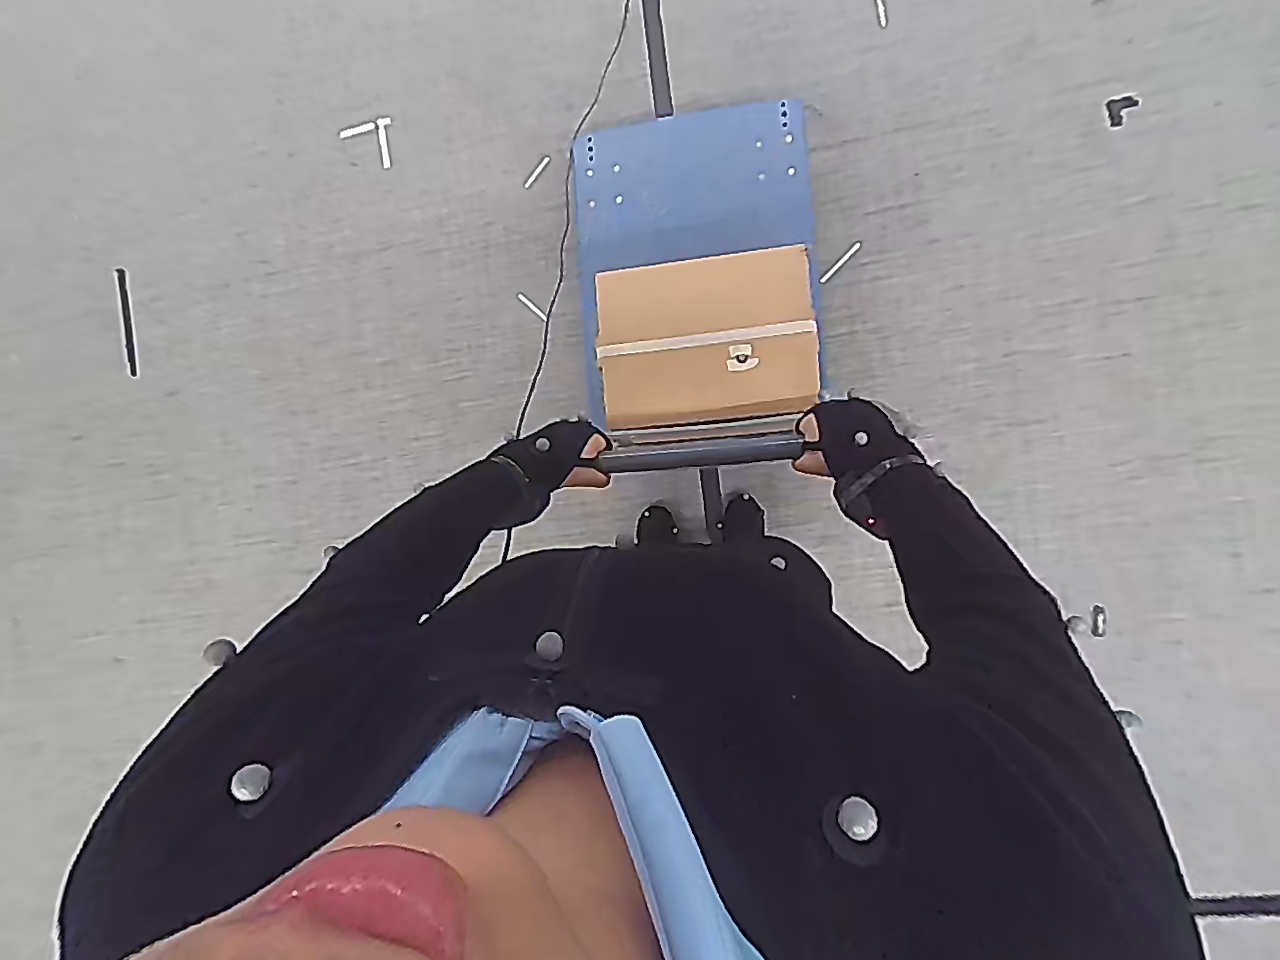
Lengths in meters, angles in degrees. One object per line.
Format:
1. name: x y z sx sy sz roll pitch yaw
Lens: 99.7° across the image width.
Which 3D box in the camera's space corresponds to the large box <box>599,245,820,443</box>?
1. large box: 0.147 -0.267 1.185 0.408 0.320 0.320 -5 89 8
